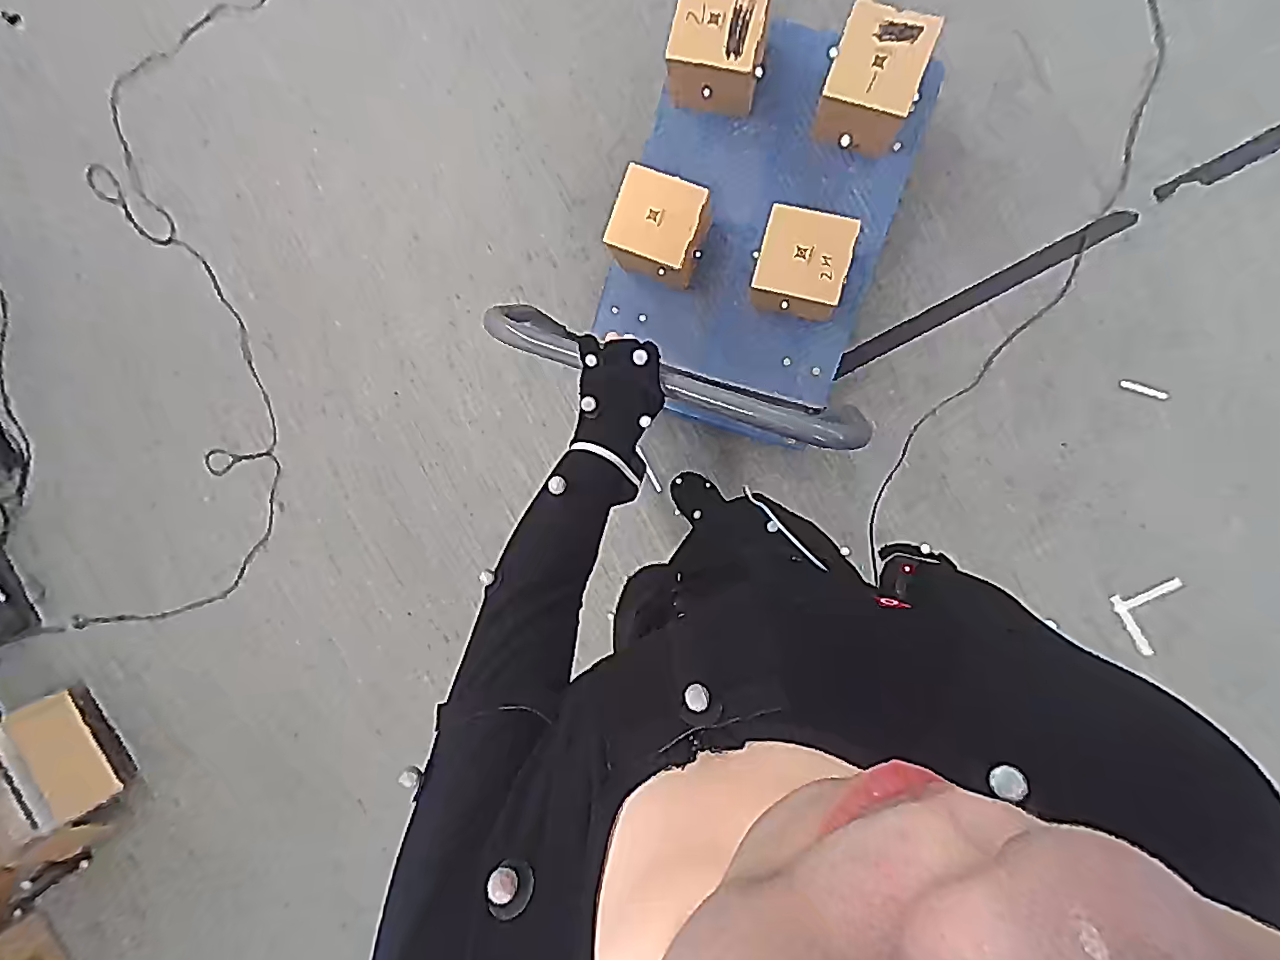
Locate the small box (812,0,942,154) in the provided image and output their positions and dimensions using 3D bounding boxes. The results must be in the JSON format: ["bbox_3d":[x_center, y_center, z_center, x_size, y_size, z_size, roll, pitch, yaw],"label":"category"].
[{"bbox_3d":[0.459,-0.797,1.080,0.168,0.176,0.179,21,100,6],"label":"small box"}]

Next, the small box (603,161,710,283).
[{"bbox_3d":[0.041,-0.548,1.172,0.179,0.176,0.168,22,99,4],"label":"small box"}]

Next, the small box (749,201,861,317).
[{"bbox_3d":[0.334,-0.454,1.136,0.179,0.176,0.168,16,98,7],"label":"small box"}]
